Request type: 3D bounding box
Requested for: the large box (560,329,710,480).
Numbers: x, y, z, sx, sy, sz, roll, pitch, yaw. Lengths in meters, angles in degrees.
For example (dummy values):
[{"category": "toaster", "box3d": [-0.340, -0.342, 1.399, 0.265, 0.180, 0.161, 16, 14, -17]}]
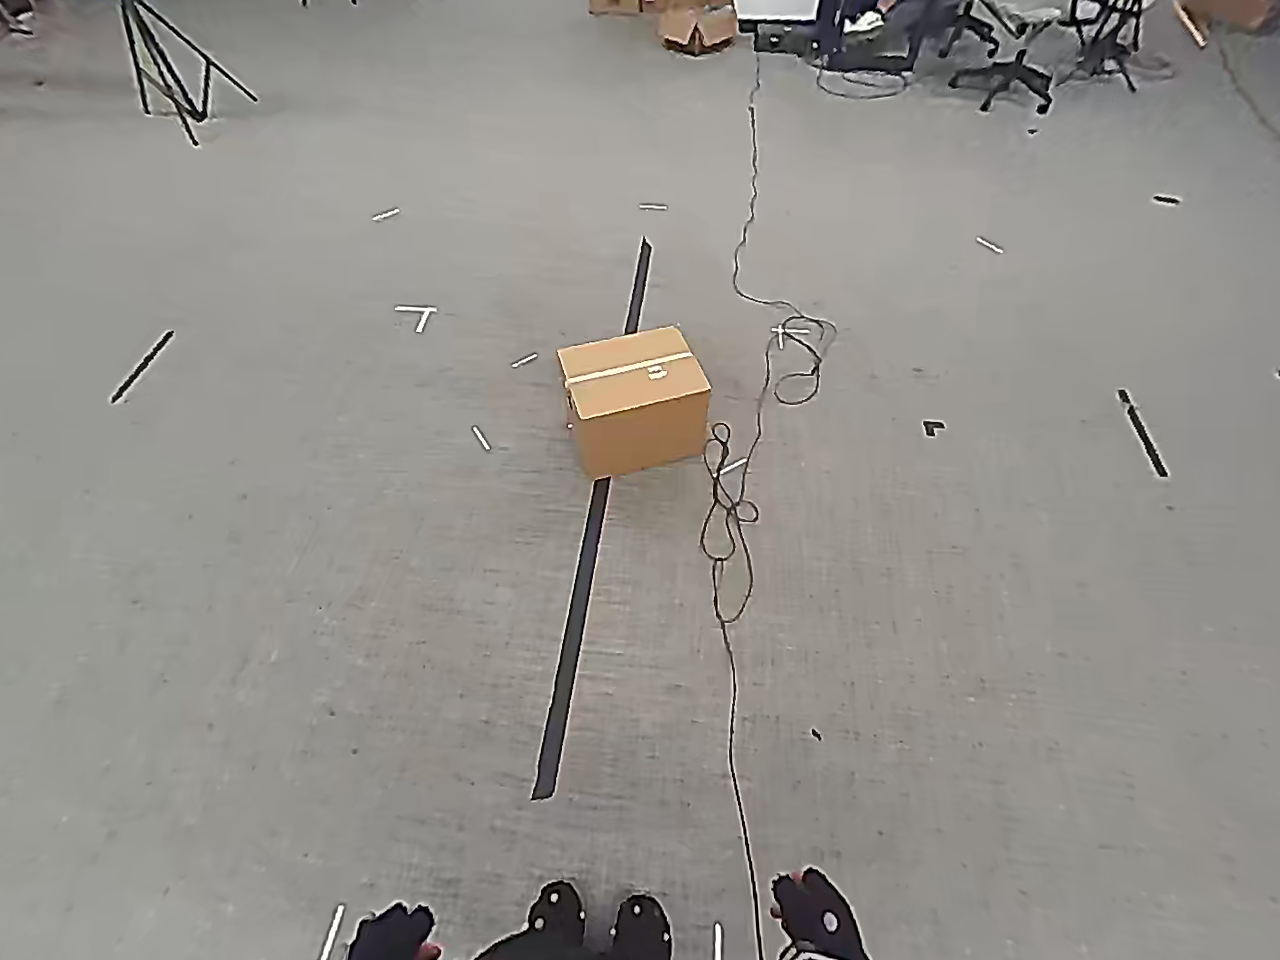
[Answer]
[{"category": "large box", "box3d": [-0.023, -0.246, 1.782, 0.408, 0.320, 0.320, -14, 56, -11]}]
